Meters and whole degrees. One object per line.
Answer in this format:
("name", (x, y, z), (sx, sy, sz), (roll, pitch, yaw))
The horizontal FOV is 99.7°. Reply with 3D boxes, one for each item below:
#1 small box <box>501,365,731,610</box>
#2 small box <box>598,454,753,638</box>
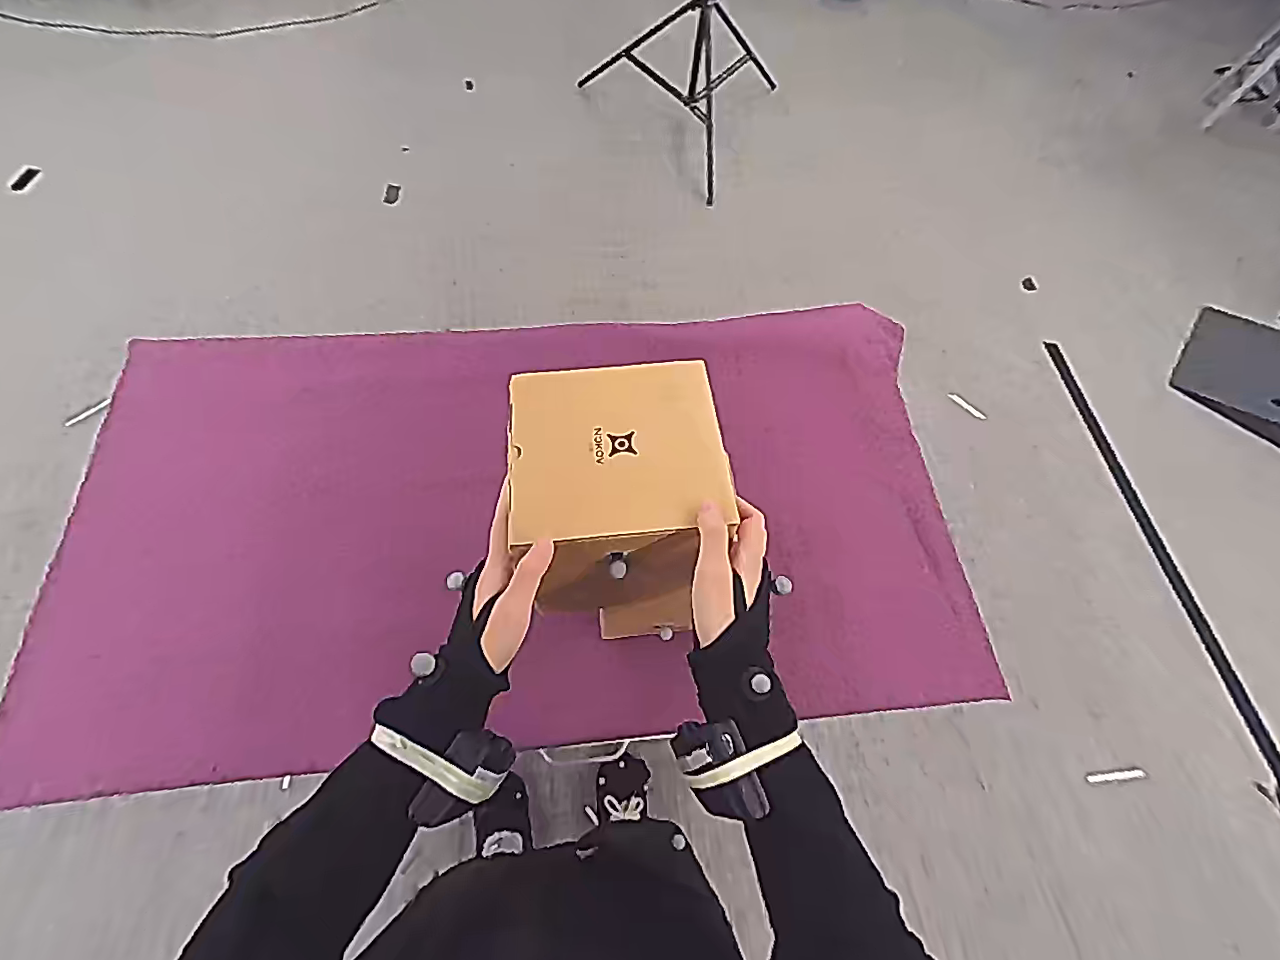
("small box", (-0.025, 0.015, 0.511), (0.179, 0.176, 0.168), (-6, 60, -3))
("small box", (0.026, 0.087, 0.672), (0.168, 0.176, 0.179), (-5, 65, -6))
